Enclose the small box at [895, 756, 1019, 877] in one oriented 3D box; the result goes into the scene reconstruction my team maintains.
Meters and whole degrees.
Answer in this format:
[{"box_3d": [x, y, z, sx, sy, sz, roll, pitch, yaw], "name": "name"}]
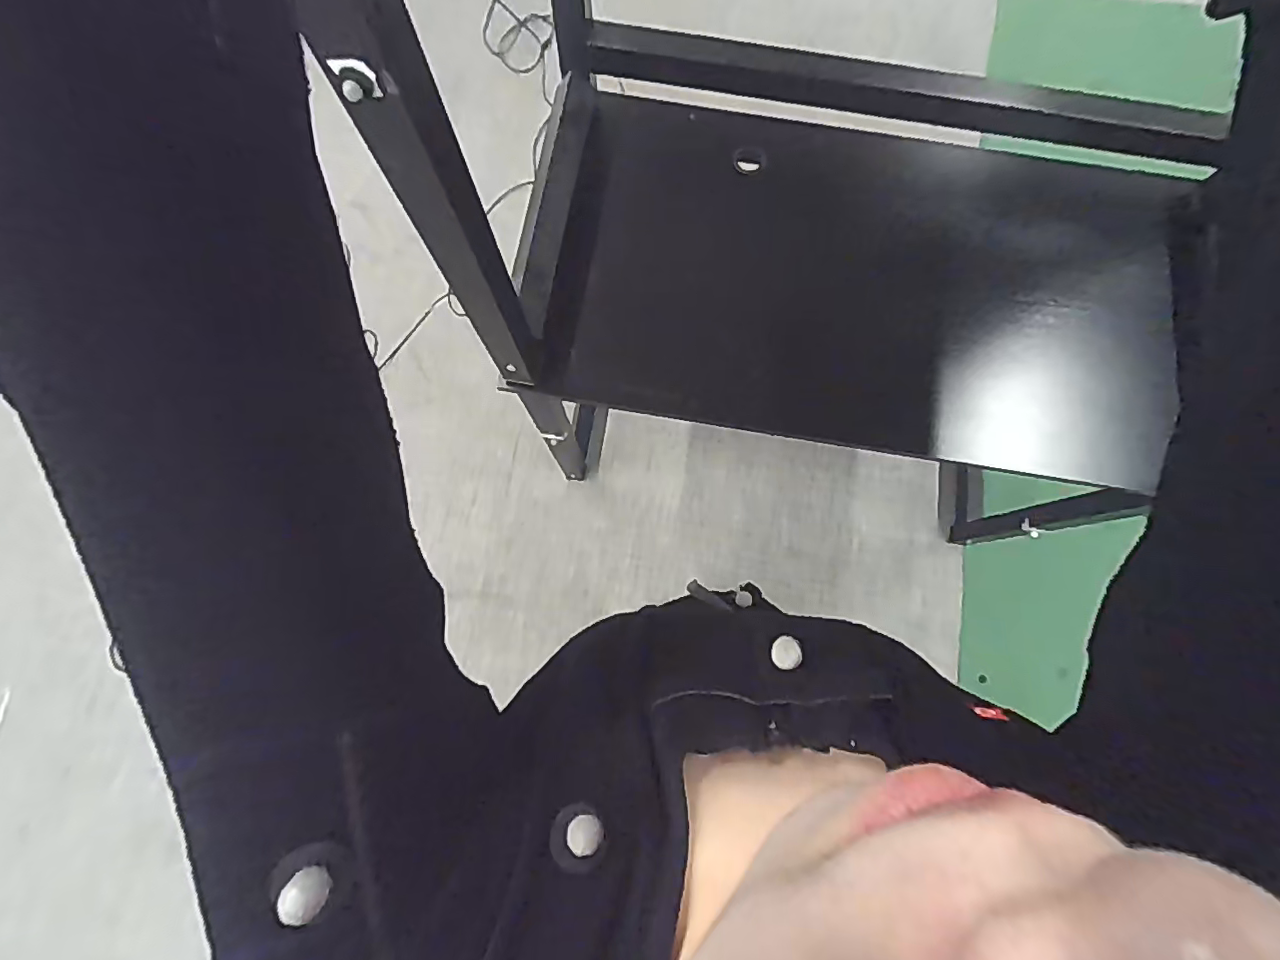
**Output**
[{"box_3d": [0.675, 0.712, 1.166, 0.179, 0.176, 0.168, 9, 77, 1], "name": "small box"}]
